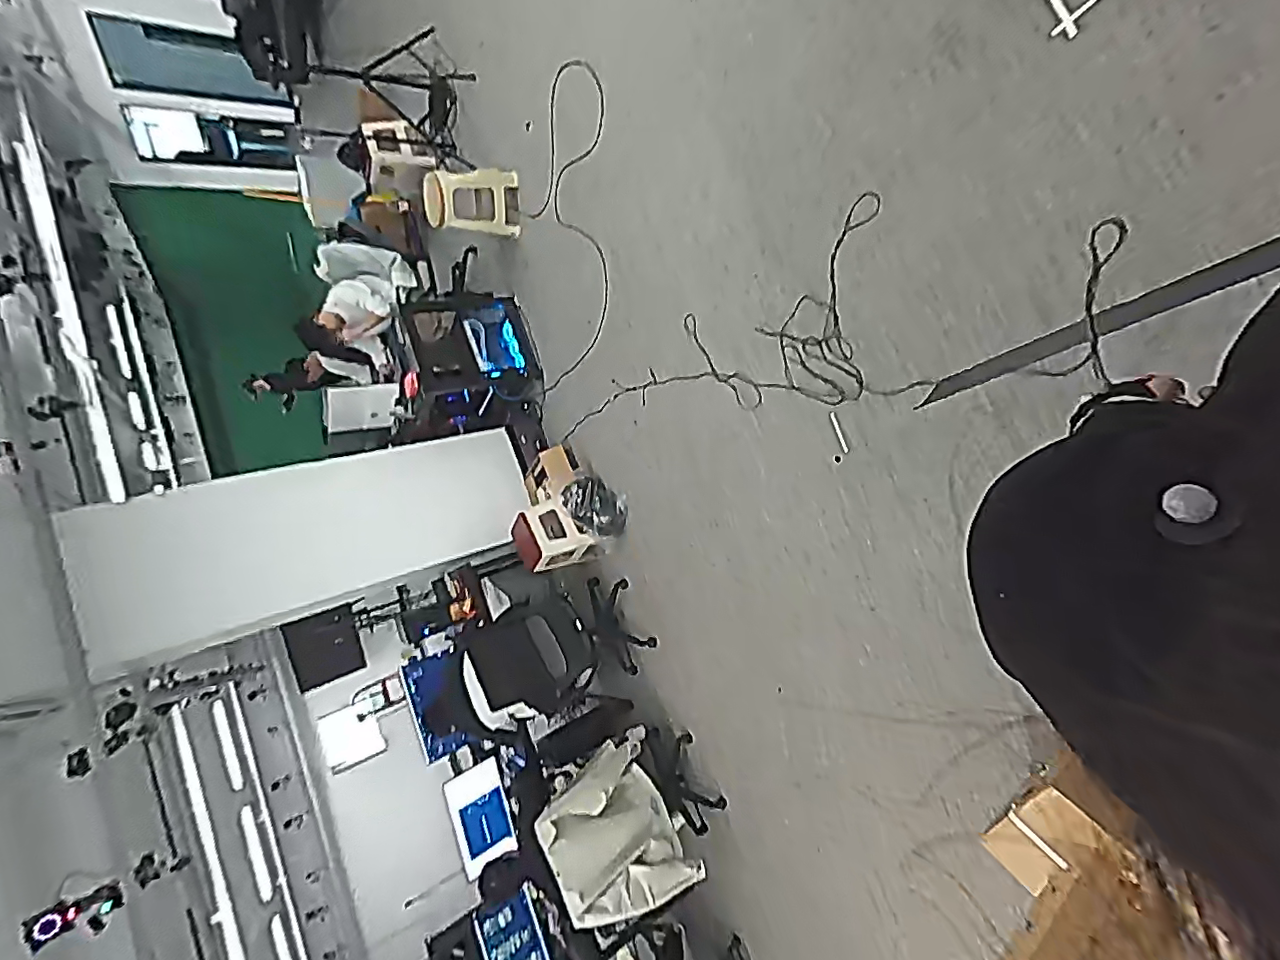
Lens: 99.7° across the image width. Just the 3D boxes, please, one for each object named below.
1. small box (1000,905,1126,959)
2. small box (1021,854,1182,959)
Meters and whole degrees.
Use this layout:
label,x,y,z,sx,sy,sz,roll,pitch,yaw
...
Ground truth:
label,x,y,z,sx,sy,sz,roll,pitch,yaw
small box,0.803,0.956,1.014,0.168,0.176,0.179,43,137,39
small box,0.937,0.915,1.099,0.168,0.176,0.179,43,136,39
